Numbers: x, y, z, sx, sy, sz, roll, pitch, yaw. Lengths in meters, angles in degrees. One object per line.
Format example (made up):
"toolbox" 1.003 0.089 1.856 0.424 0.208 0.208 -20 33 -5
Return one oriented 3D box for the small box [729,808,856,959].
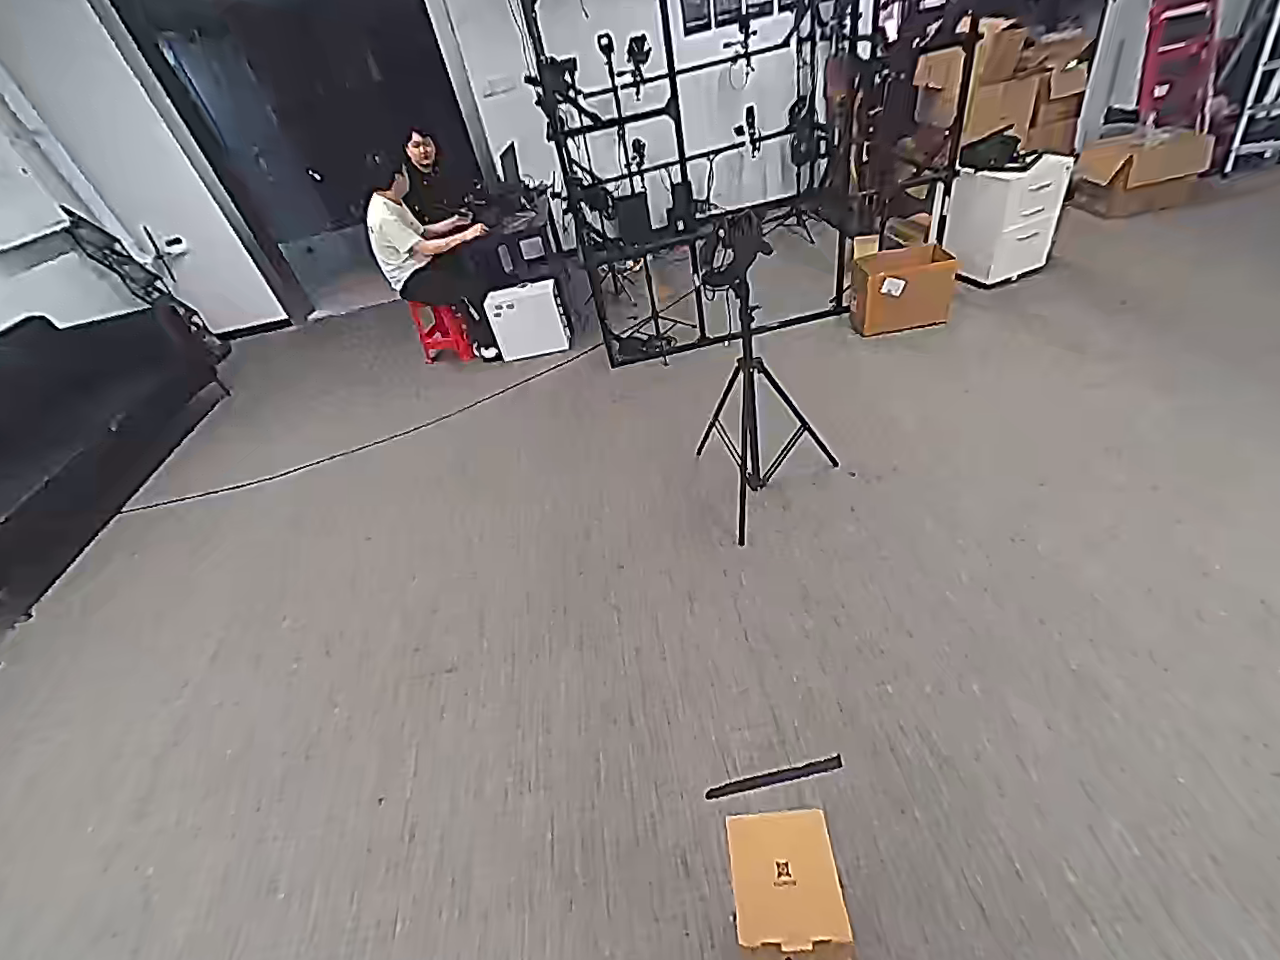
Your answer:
"small box" 0.244 0.677 0.897 0.168 0.176 0.179 -9 39 7
